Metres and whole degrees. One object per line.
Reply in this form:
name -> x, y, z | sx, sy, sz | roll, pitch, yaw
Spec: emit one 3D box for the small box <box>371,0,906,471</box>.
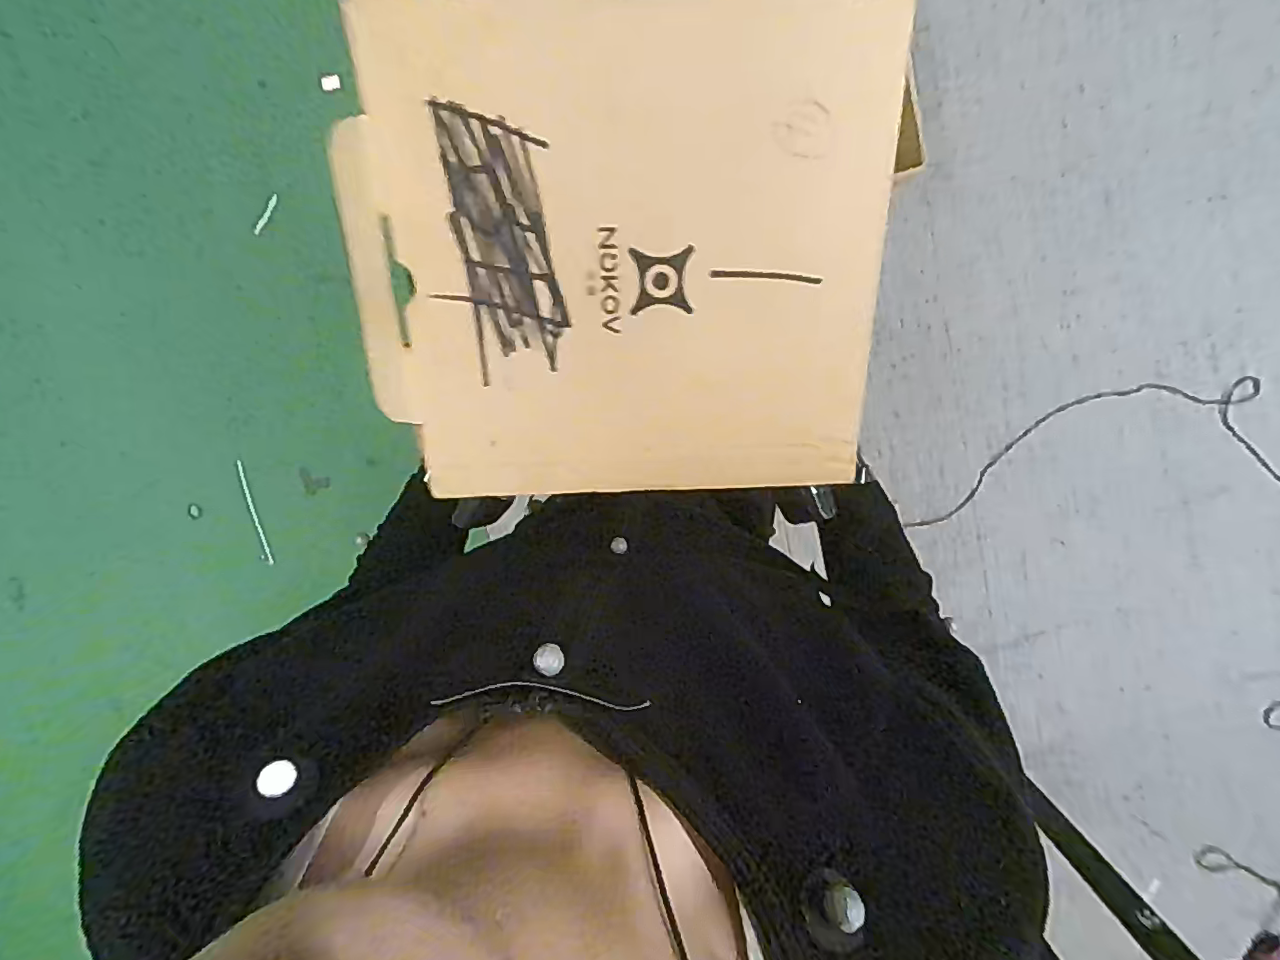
small box -> 0.000, -0.109, 0.275 | 0.179, 0.176, 0.168 | -2, 111, 0
